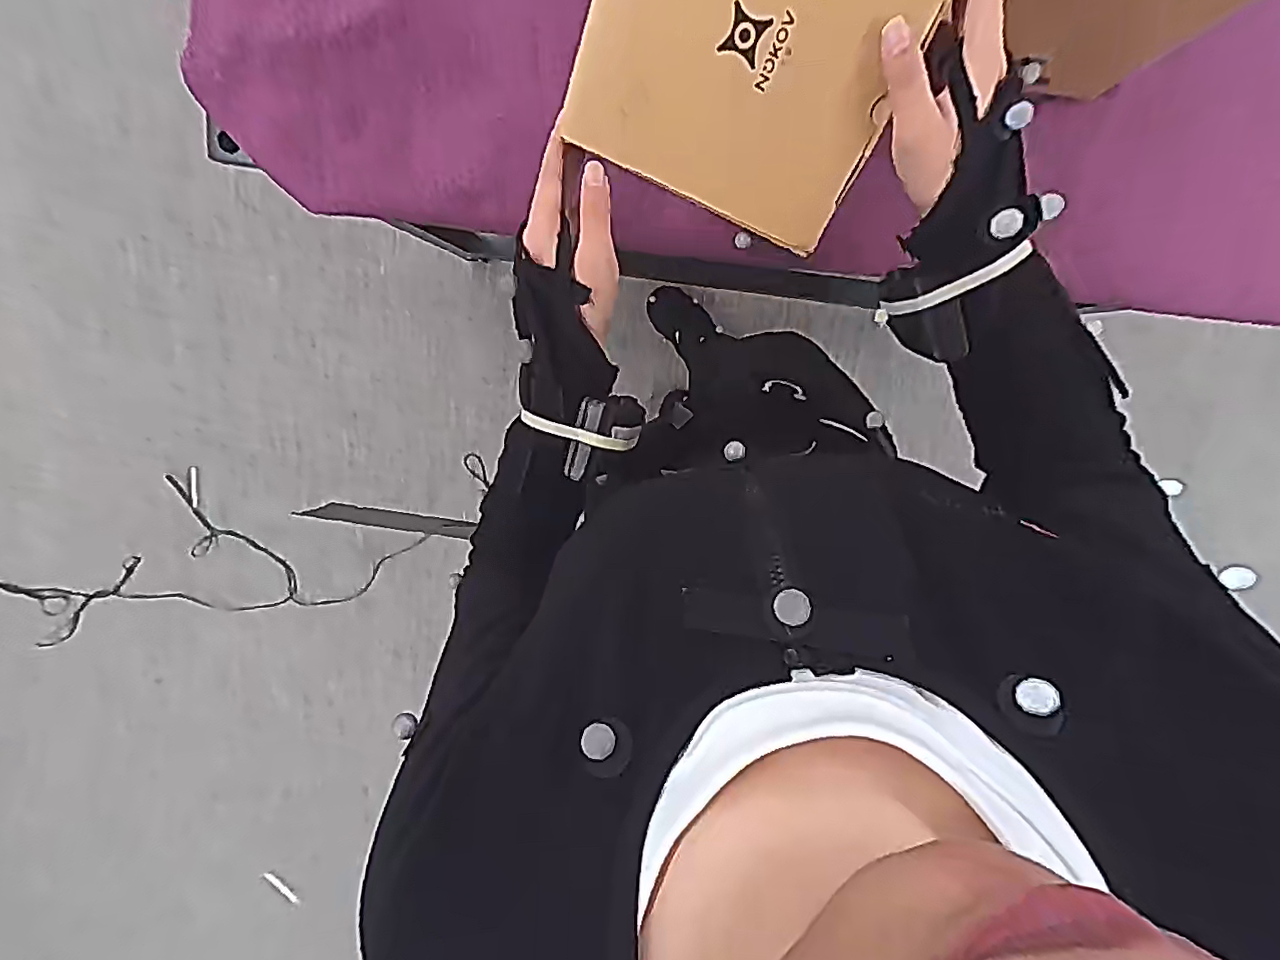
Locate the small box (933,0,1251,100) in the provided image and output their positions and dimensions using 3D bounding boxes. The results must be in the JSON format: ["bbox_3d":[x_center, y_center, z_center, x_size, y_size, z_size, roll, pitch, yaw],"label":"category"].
[{"bbox_3d":[0.371,-0.453,0.437,0.168,0.176,0.179,9,104,0],"label":"small box"}]
